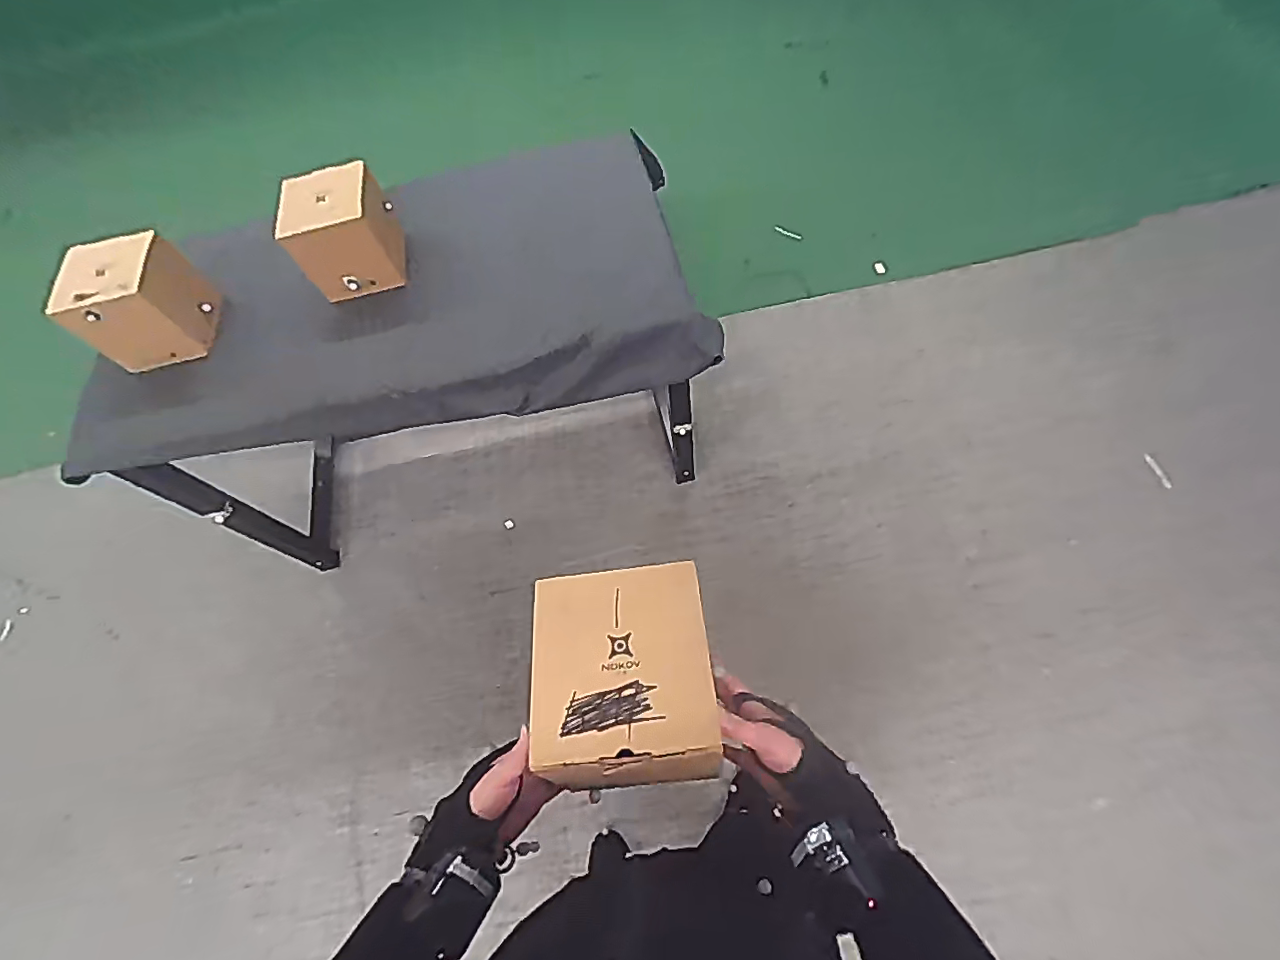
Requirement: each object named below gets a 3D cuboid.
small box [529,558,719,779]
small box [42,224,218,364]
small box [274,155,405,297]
[{"bbox_3d":[-0.010,0.203,0.562,0.168,0.176,0.179,-7,54,2],"label":"small box"},{"bbox_3d":[-0.968,-0.355,1.048,0.168,0.176,0.179,-14,63,0],"label":"small box"},{"bbox_3d":[-0.588,-0.502,1.080,0.168,0.176,0.179,-15,65,1],"label":"small box"}]
